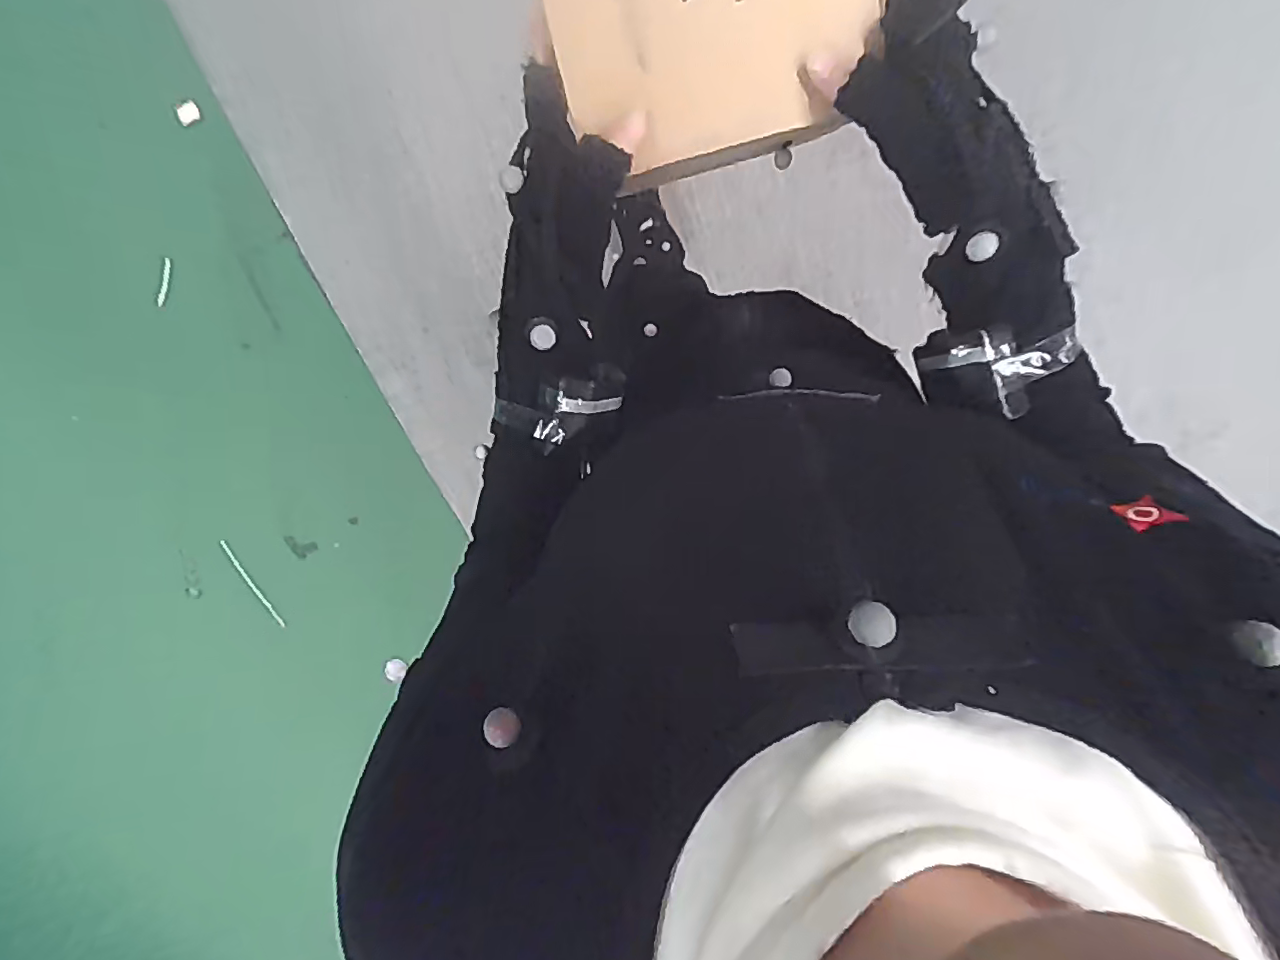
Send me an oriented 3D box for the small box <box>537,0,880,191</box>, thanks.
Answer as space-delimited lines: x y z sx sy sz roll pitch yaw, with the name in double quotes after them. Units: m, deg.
0.032 -0.303 0.350 0.179 0.176 0.168 -13 113 8 "small box"
